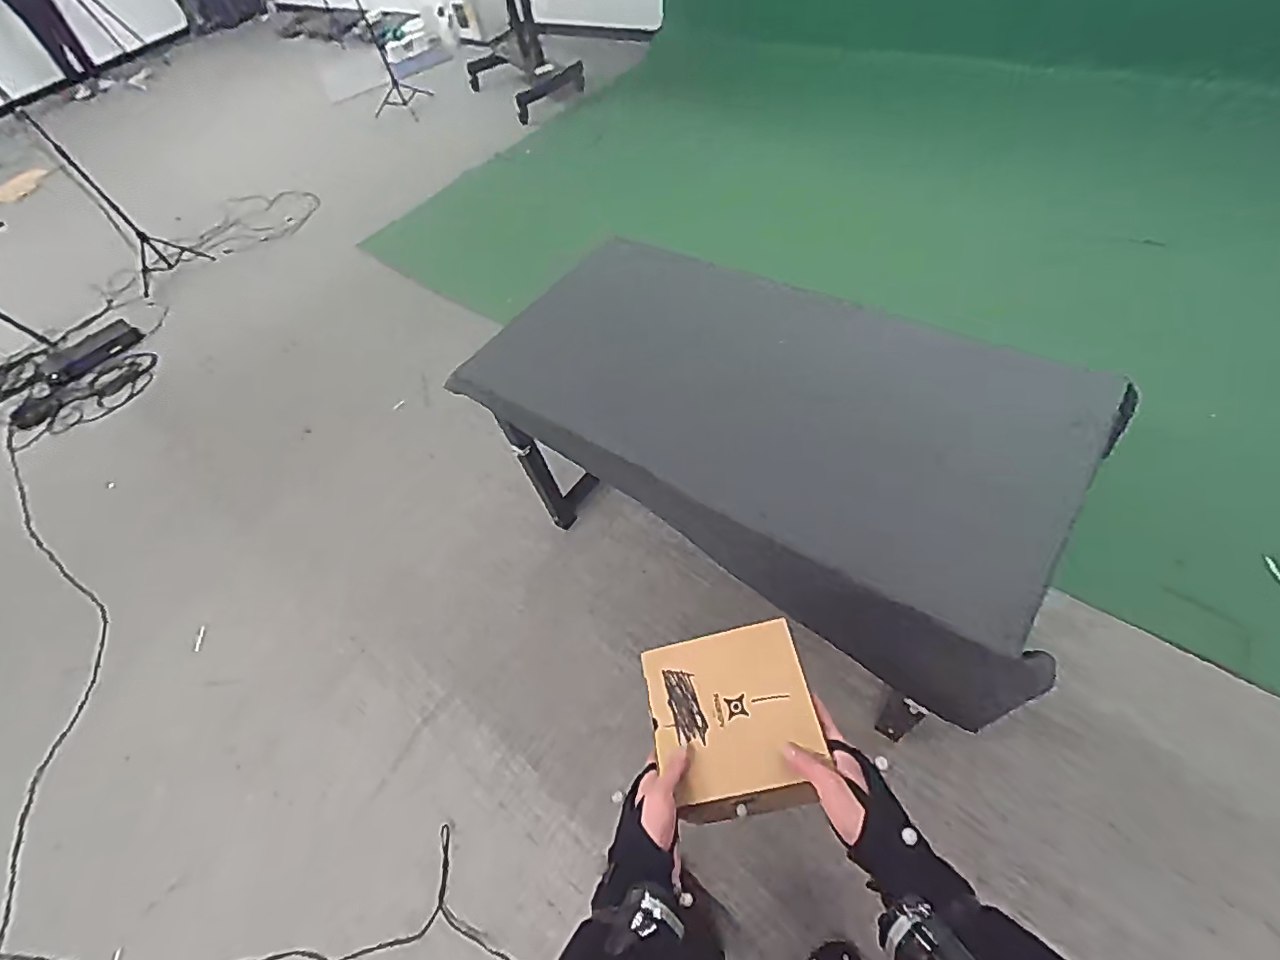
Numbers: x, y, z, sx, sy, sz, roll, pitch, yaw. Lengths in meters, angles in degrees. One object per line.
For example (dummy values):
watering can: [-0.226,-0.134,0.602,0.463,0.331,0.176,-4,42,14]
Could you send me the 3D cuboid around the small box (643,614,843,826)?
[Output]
small box: [0.115,0.281,0.621,0.179,0.176,0.168,-15,50,4]
